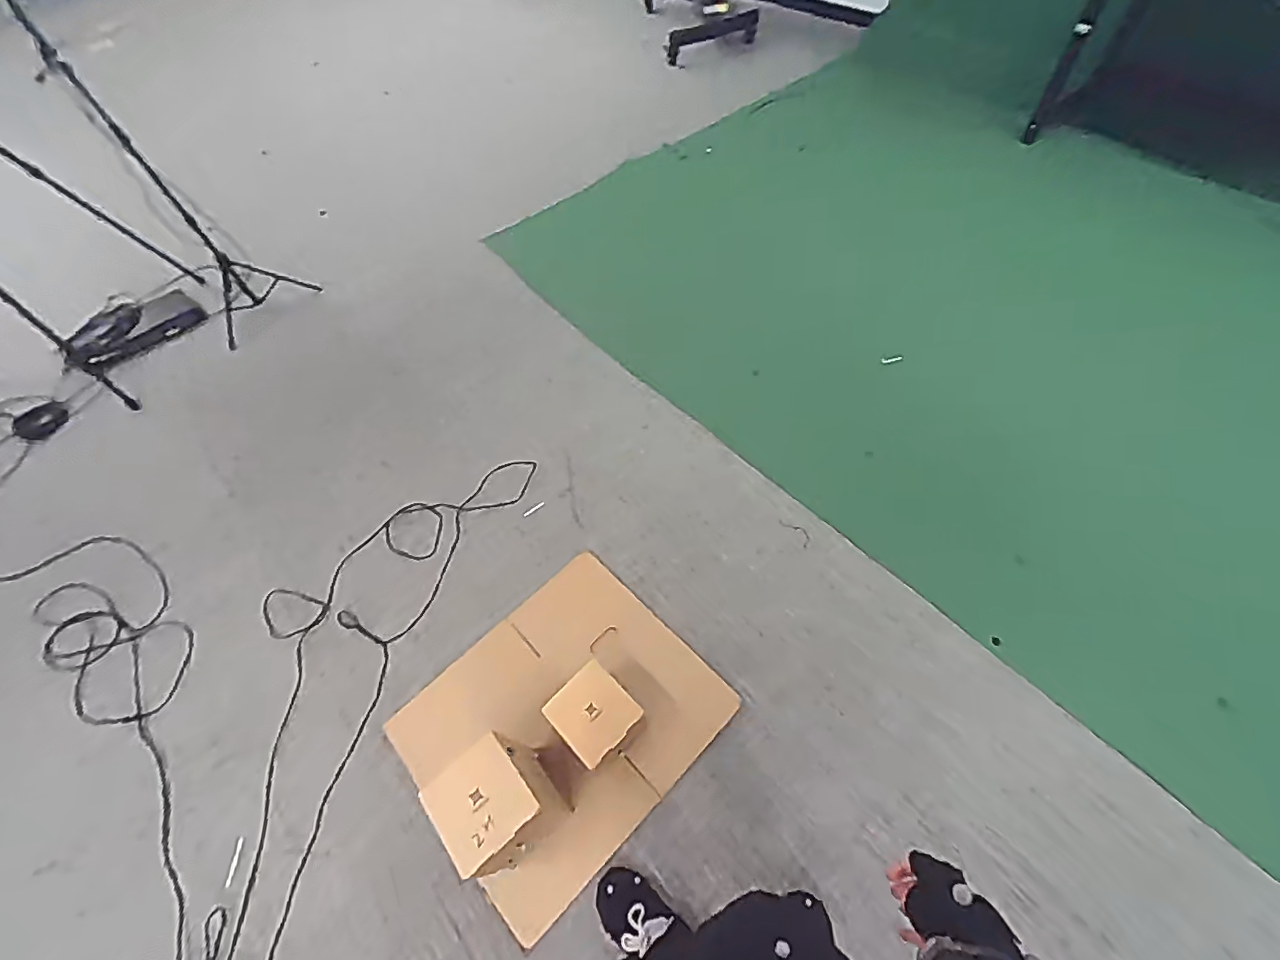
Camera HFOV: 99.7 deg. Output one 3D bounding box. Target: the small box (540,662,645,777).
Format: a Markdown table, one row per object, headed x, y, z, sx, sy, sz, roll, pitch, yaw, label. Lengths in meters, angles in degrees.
| x | y | z | sx | sy | sz | roll | pitch | yaw | label |
| --- | --- | --- | --- | --- | --- | --- | --- | --- | --- |
| -0.106 | 0.567 | 1.268 | 0.179 | 0.176 | 0.168 | 39 | 67 | 25 | small box |

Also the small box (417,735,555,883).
| x | y | z | sx | sy | sz | roll | pitch | yaw | label |
| --- | --- | --- | --- | --- | --- | --- | --- | --- | --- |
| -0.289 | 0.630 | 1.042 | 0.168 | 0.176 | 0.179 | -38 | 62 | -17 | small box |
